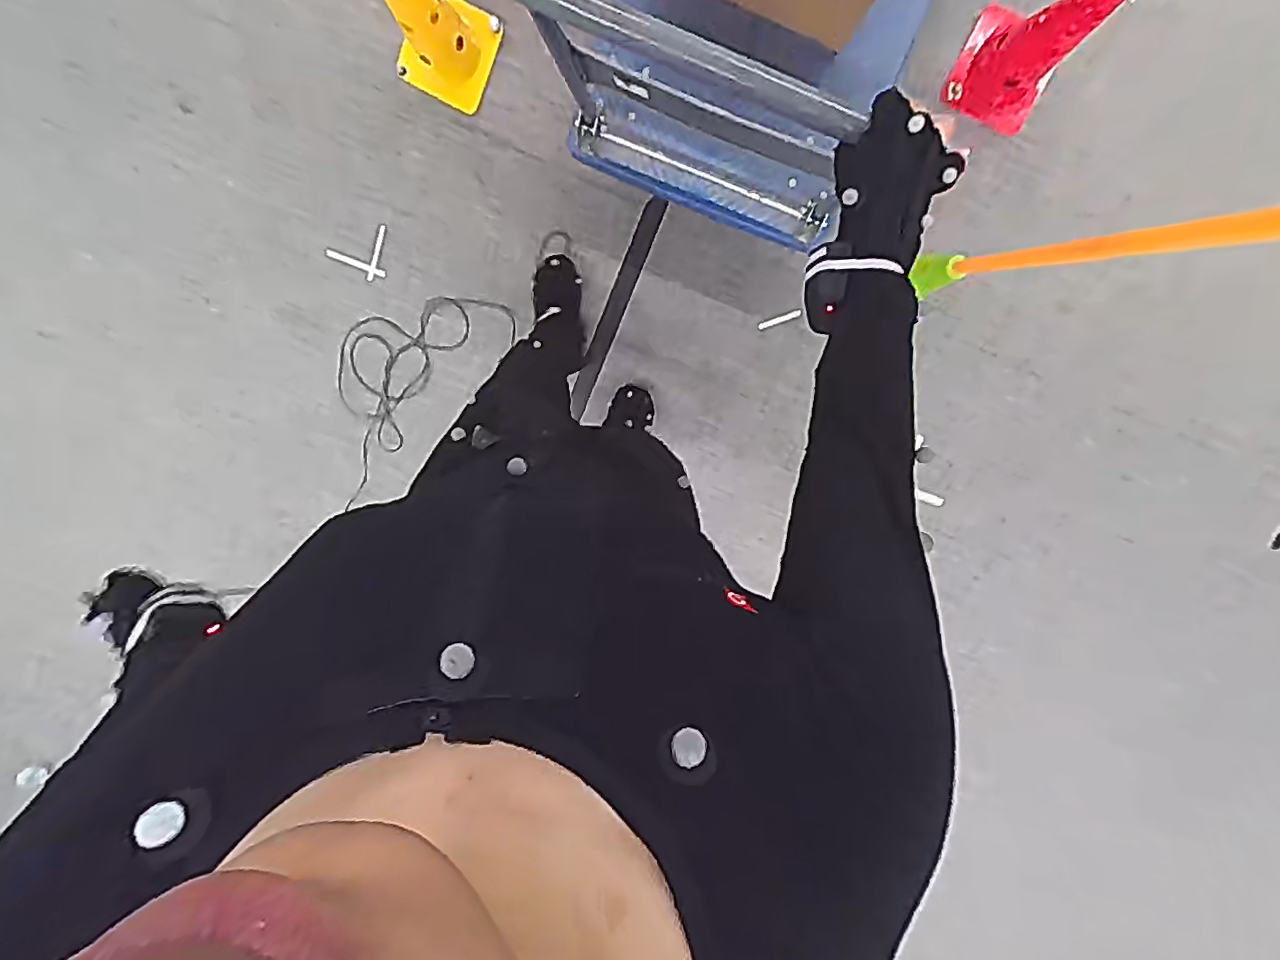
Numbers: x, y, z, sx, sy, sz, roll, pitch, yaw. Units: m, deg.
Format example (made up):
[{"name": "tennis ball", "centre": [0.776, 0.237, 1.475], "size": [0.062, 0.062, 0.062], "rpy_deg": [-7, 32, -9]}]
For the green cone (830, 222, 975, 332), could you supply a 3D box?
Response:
[{"name": "green cone", "centre": [0.578, -0.436, 1.136], "size": [0.202, 0.368, 0.200], "rpy_deg": [26, 106, -6]}]

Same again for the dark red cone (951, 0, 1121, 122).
[{"name": "dark red cone", "centre": [0.783, -0.851, 0.988], "size": [0.201, 0.394, 0.202], "rpy_deg": [22, 106, -5]}]

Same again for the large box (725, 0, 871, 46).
[{"name": "large box", "centre": [0.244, -0.988, 0.848], "size": [0.408, 0.320, 0.320], "rpy_deg": [22, 107, -3]}]
